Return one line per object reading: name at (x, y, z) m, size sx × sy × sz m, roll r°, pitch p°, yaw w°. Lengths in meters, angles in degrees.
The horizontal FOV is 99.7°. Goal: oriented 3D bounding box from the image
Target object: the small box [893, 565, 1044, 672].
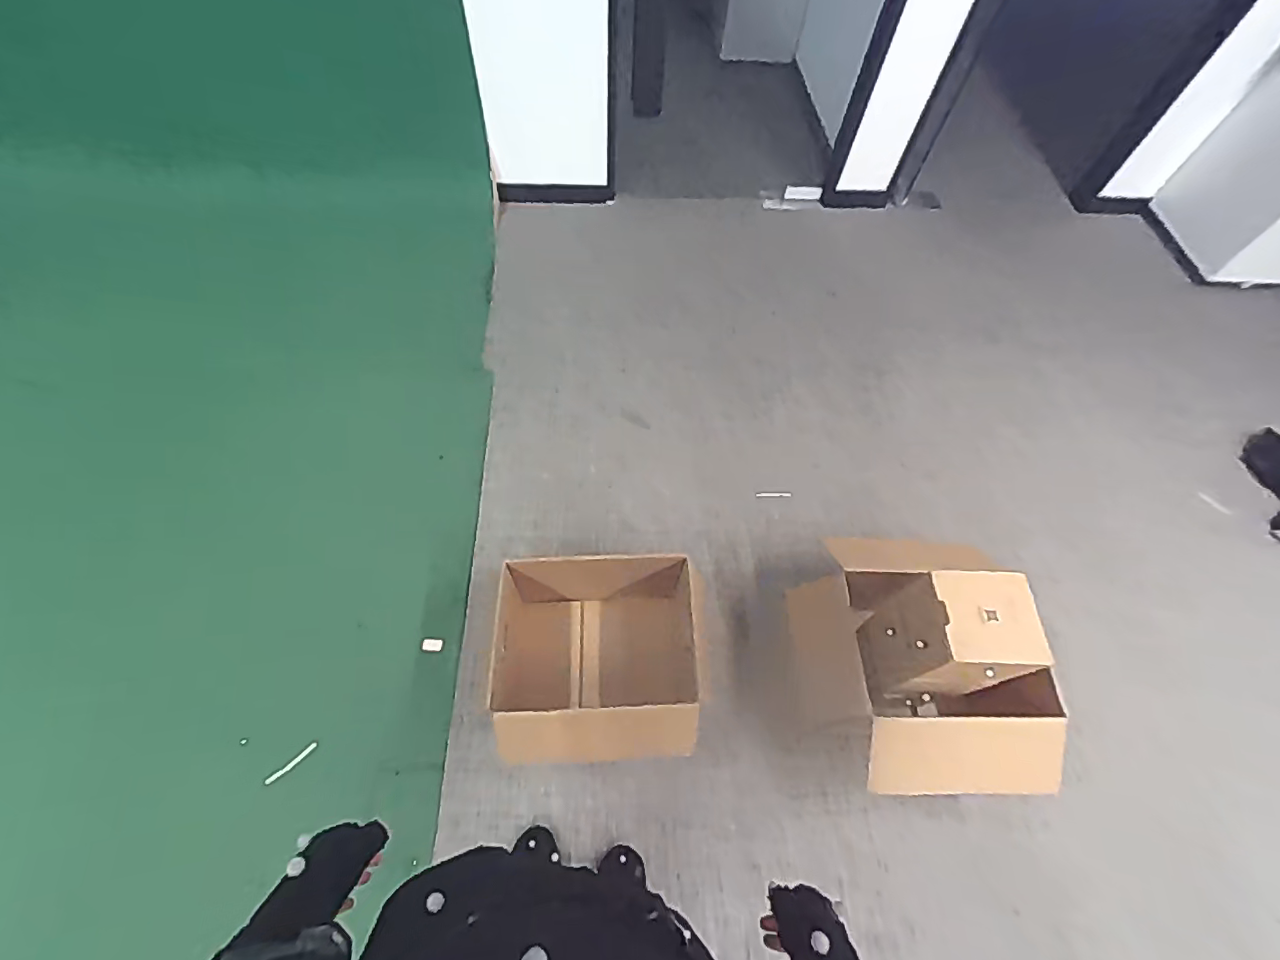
small box at (0.612, 0.271, 1.041) m, size 0.179 × 0.176 × 0.168 m, roll 1°, pitch 61°, yaw -1°
